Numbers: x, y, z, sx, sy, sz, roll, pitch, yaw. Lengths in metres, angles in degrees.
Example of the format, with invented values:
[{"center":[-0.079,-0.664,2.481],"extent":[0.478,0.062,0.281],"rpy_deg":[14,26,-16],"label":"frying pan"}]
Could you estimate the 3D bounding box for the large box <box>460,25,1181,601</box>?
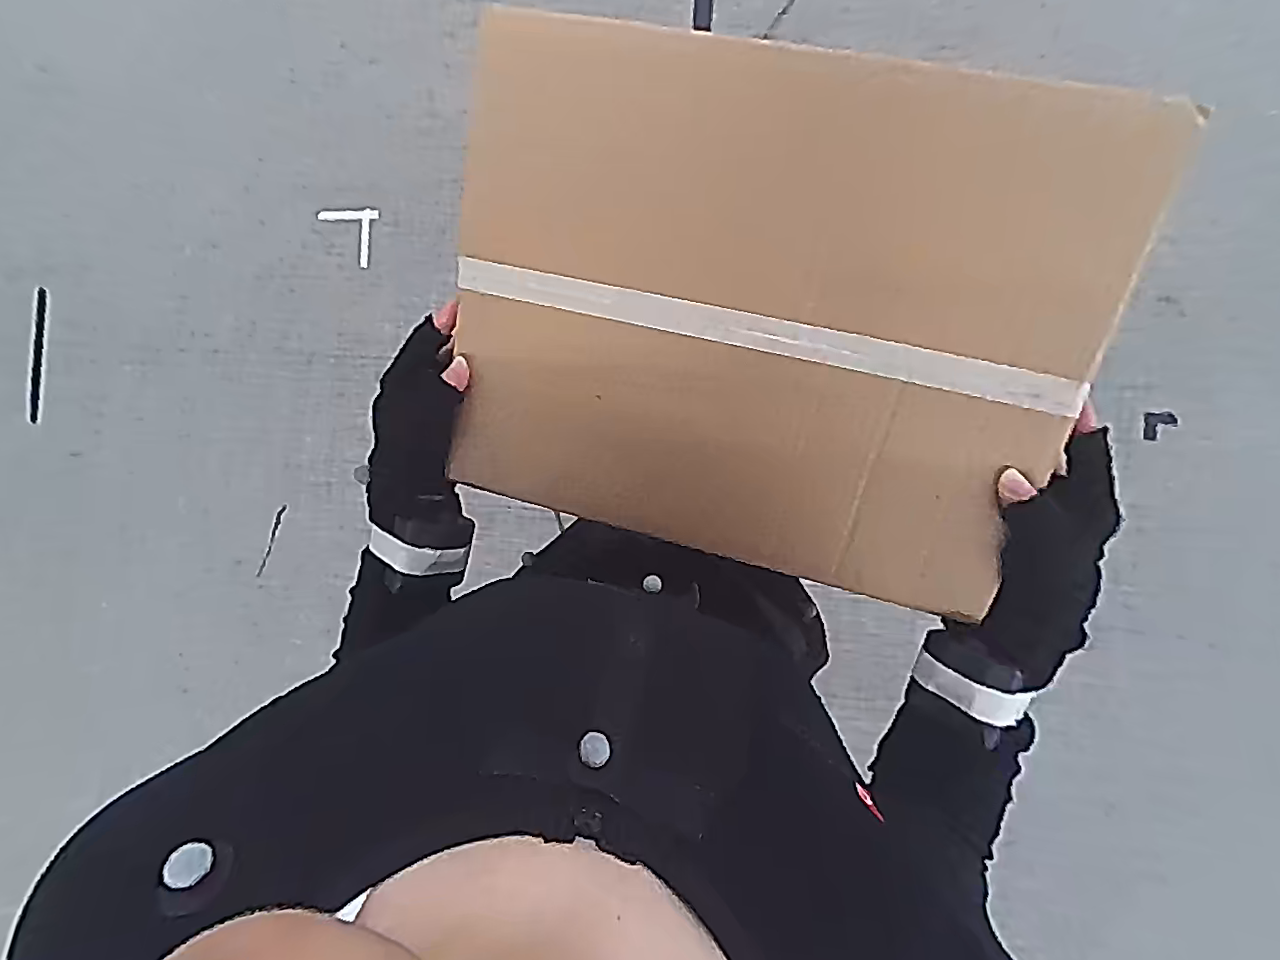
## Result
[{"center":[0.101,-0.141,0.501],"extent":[0.408,0.320,0.320],"rpy_deg":[15,109,8],"label":"large box"}]
